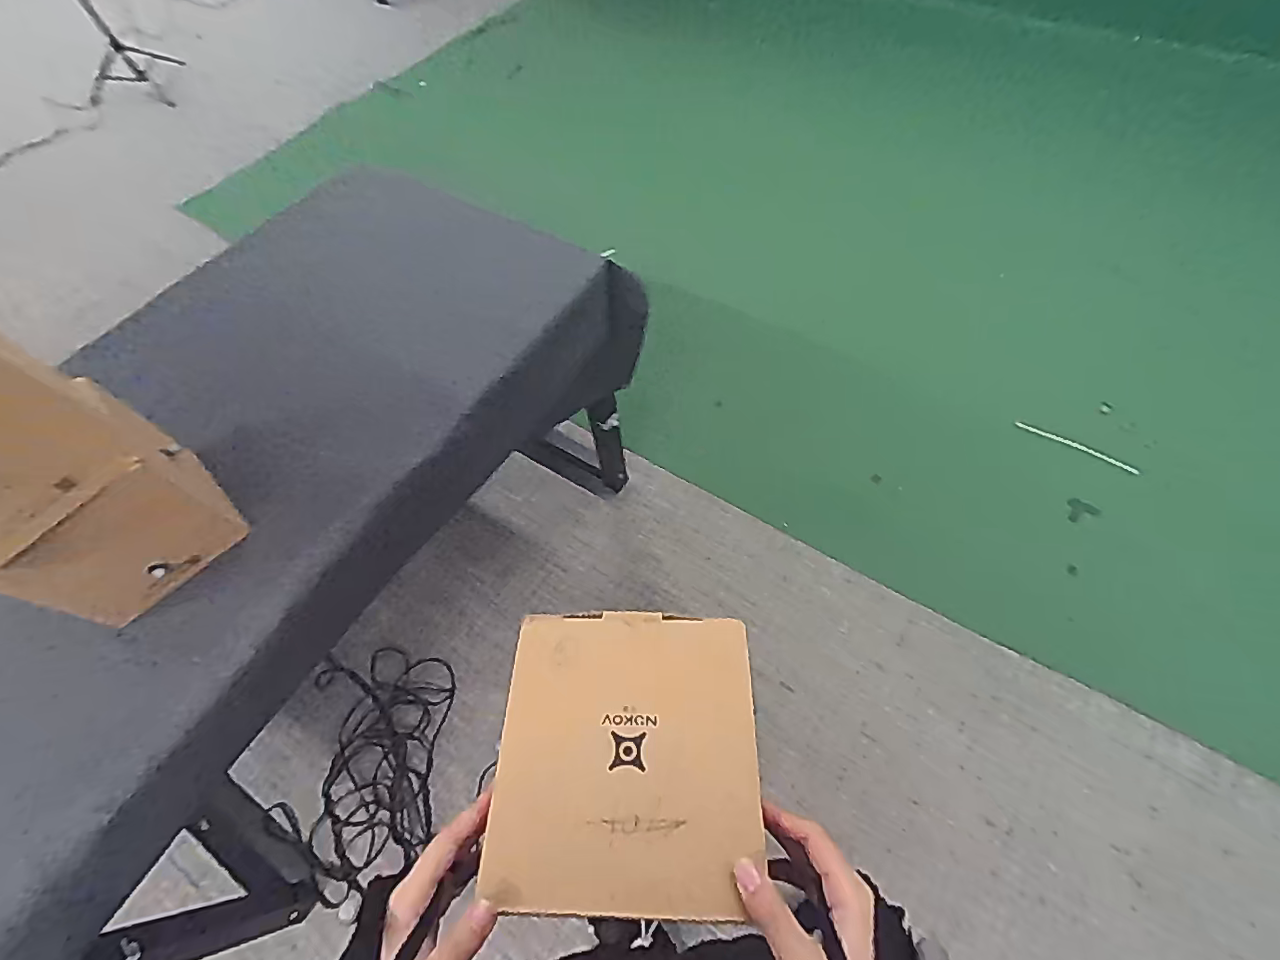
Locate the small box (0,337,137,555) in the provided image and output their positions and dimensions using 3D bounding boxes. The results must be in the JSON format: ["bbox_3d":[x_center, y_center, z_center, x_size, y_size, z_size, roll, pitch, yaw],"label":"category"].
[{"bbox_3d":[-0.603,-0.047,0.459,0.179,0.176,0.168,30,66,18],"label":"small box"}]

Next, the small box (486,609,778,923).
[{"bbox_3d":[-0.001,0.216,0.410,0.168,0.176,0.179,1,53,3],"label":"small box"}]
